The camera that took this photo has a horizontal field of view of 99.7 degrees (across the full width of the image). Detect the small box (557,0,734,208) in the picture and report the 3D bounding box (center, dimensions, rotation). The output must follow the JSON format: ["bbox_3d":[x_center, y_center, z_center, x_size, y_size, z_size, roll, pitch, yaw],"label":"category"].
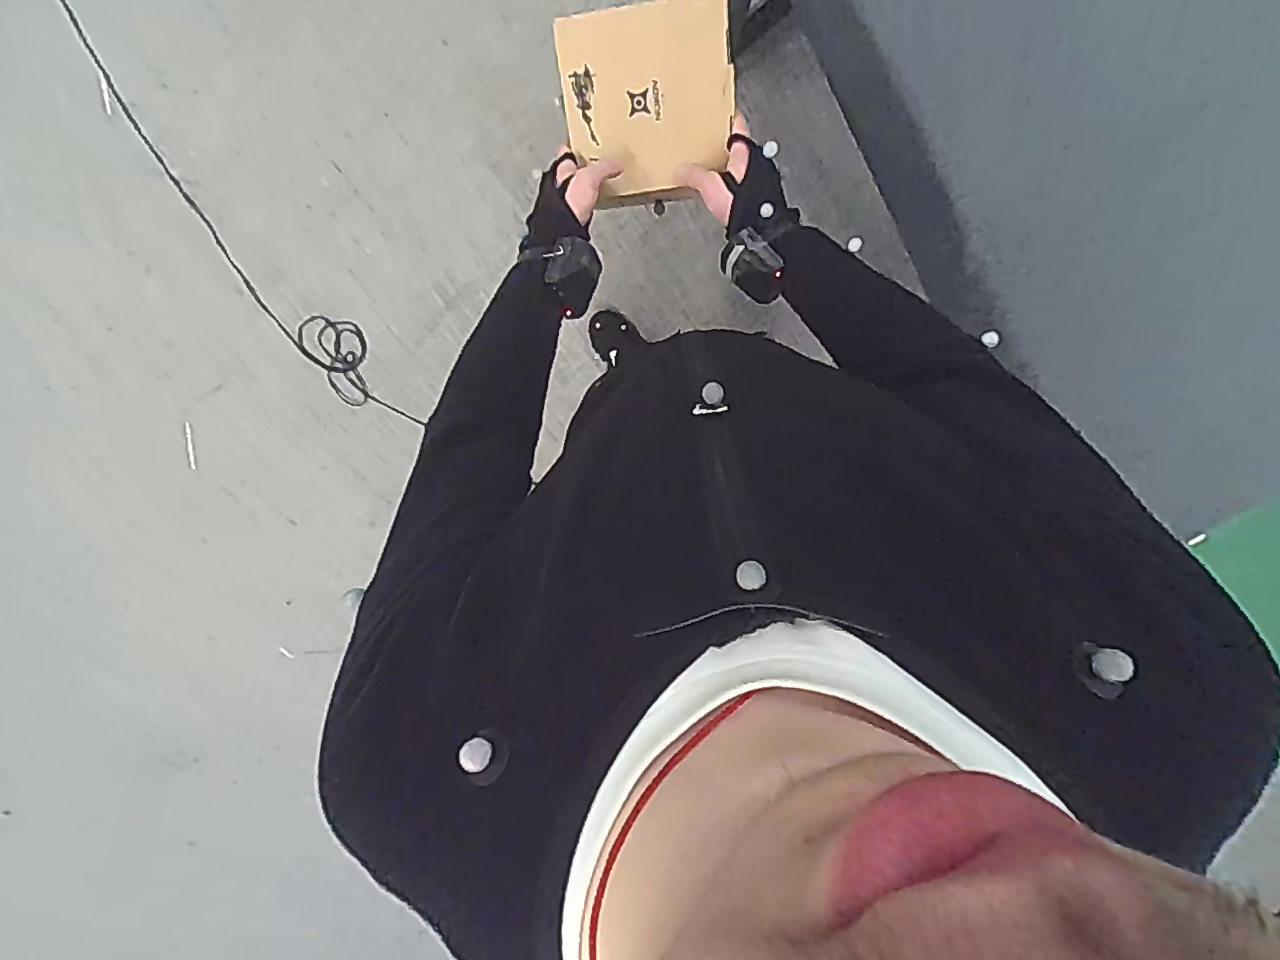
[{"bbox_3d":[0.011,-0.423,0.638,0.179,0.176,0.168,-4,113,4],"label":"small box"}]

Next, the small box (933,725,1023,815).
[{"bbox_3d":[1.136,0.975,1.826,0.168,0.176,0.179,-33,105,8],"label":"small box"}]
